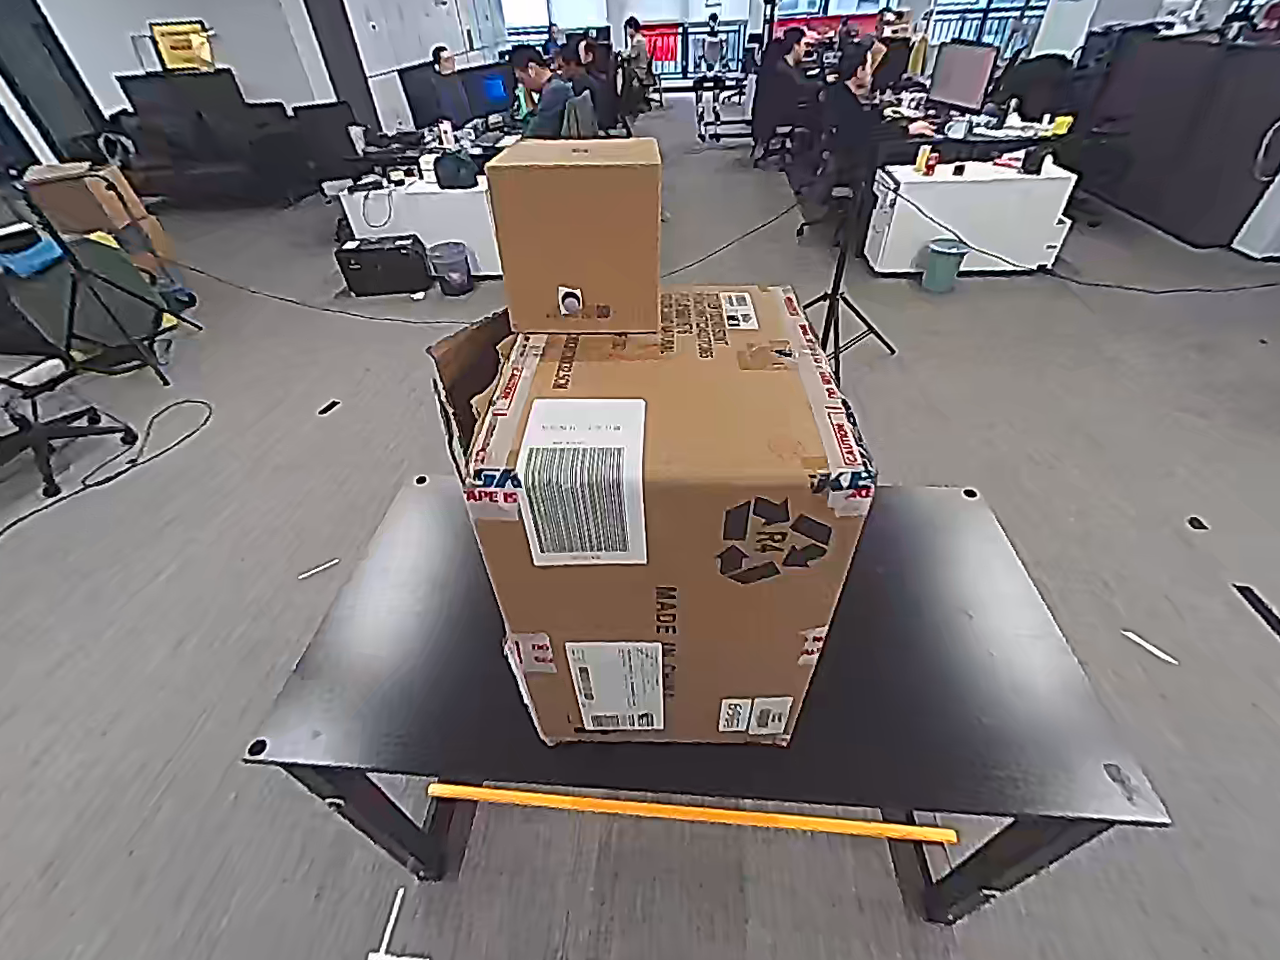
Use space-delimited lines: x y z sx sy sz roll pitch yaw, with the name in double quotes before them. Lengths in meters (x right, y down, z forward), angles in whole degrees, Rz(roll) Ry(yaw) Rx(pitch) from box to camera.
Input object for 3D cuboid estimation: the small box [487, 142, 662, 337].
"small box" -0.061 -0.275 0.616 0.168 0.176 0.179 -2 39 0
